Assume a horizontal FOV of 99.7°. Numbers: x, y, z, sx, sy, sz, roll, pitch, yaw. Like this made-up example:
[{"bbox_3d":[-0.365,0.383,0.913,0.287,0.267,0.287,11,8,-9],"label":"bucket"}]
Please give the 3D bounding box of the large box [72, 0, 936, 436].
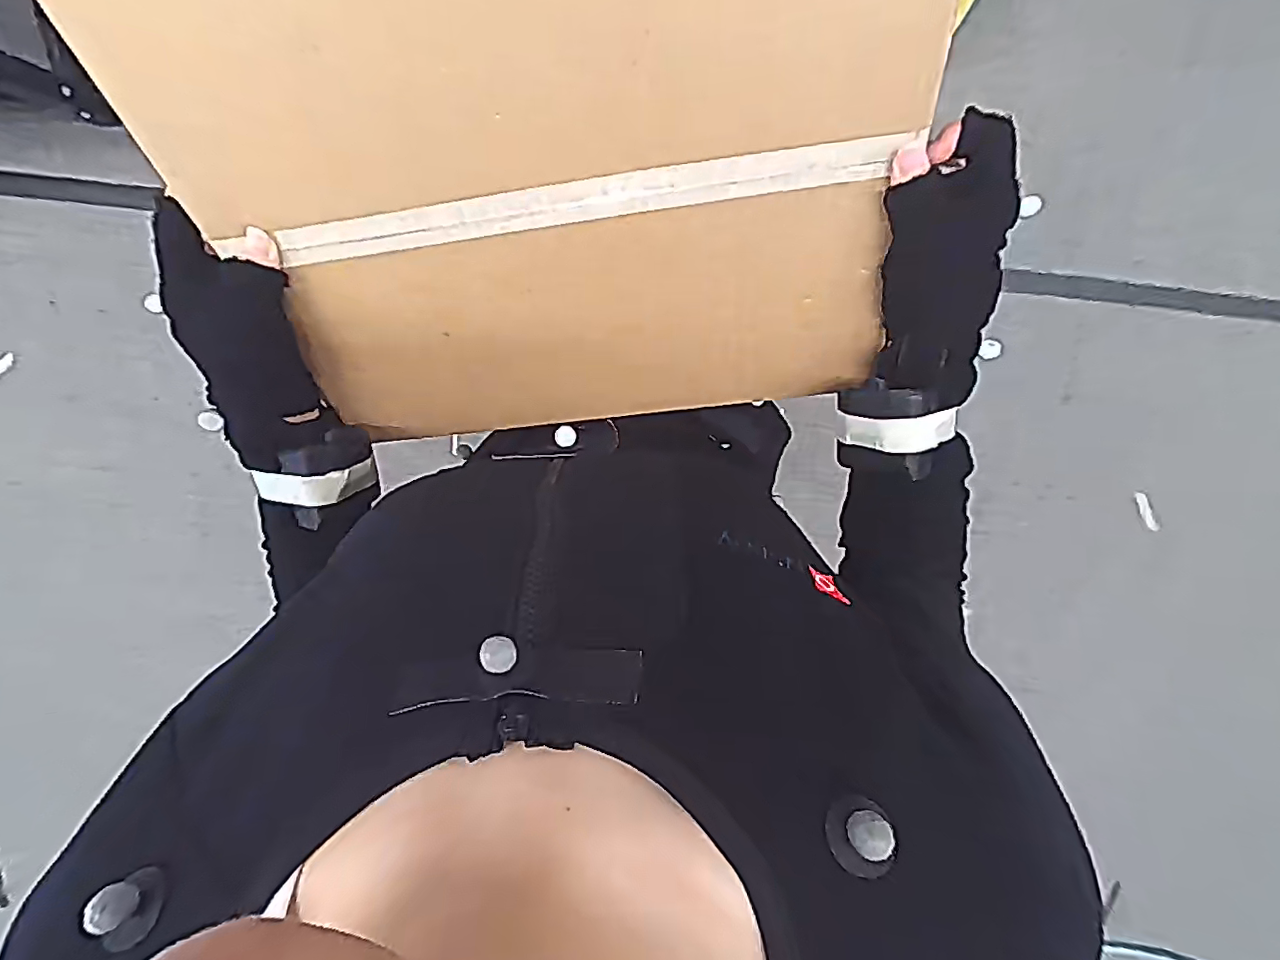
[{"bbox_3d":[-0.052,-0.269,0.418,0.408,0.320,0.320,-6,137,5],"label":"large box"}]
